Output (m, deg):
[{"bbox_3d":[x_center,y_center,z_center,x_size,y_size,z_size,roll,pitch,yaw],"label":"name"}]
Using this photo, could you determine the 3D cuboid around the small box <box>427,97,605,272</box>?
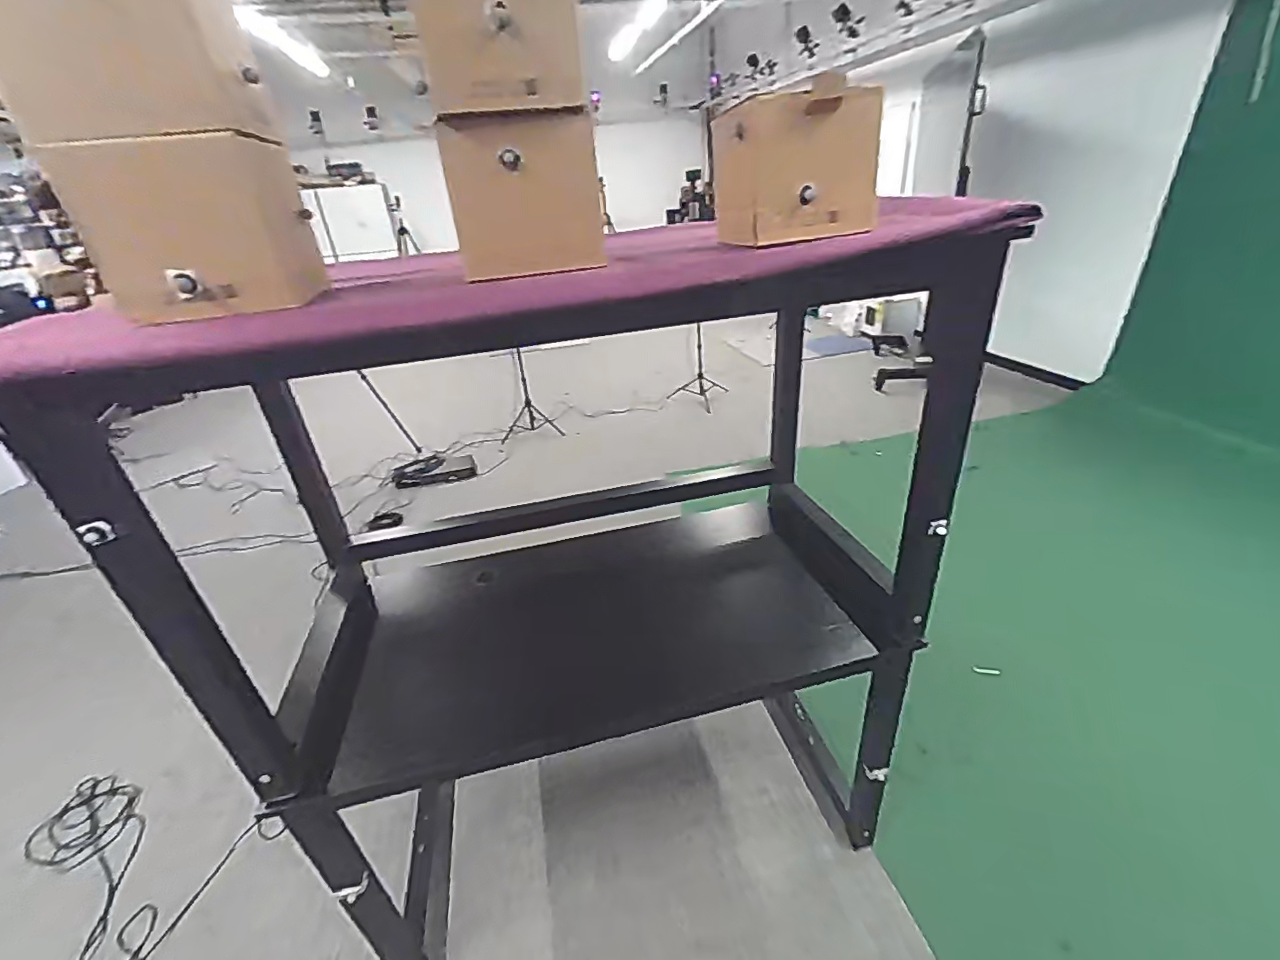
[{"bbox_3d":[-0.150,-0.366,0.689,0.179,0.176,0.168,-10,28,-9],"label":"small box"}]

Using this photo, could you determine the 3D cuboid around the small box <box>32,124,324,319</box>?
[{"bbox_3d":[-0.481,-0.286,0.605,0.168,0.176,0.179,-13,31,-12],"label":"small box"}]

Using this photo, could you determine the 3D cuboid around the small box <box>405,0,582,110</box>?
[{"bbox_3d":[-0.168,-0.505,0.603,0.168,0.176,0.179,-12,29,-13],"label":"small box"}]

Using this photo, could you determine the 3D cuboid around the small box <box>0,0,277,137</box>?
[{"bbox_3d":[-0.501,-0.429,0.526,0.179,0.176,0.168,-13,30,-12],"label":"small box"}]

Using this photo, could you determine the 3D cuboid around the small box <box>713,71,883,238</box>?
[{"bbox_3d":[0.202,-0.429,0.737,0.168,0.176,0.179,-10,27,-6],"label":"small box"}]
